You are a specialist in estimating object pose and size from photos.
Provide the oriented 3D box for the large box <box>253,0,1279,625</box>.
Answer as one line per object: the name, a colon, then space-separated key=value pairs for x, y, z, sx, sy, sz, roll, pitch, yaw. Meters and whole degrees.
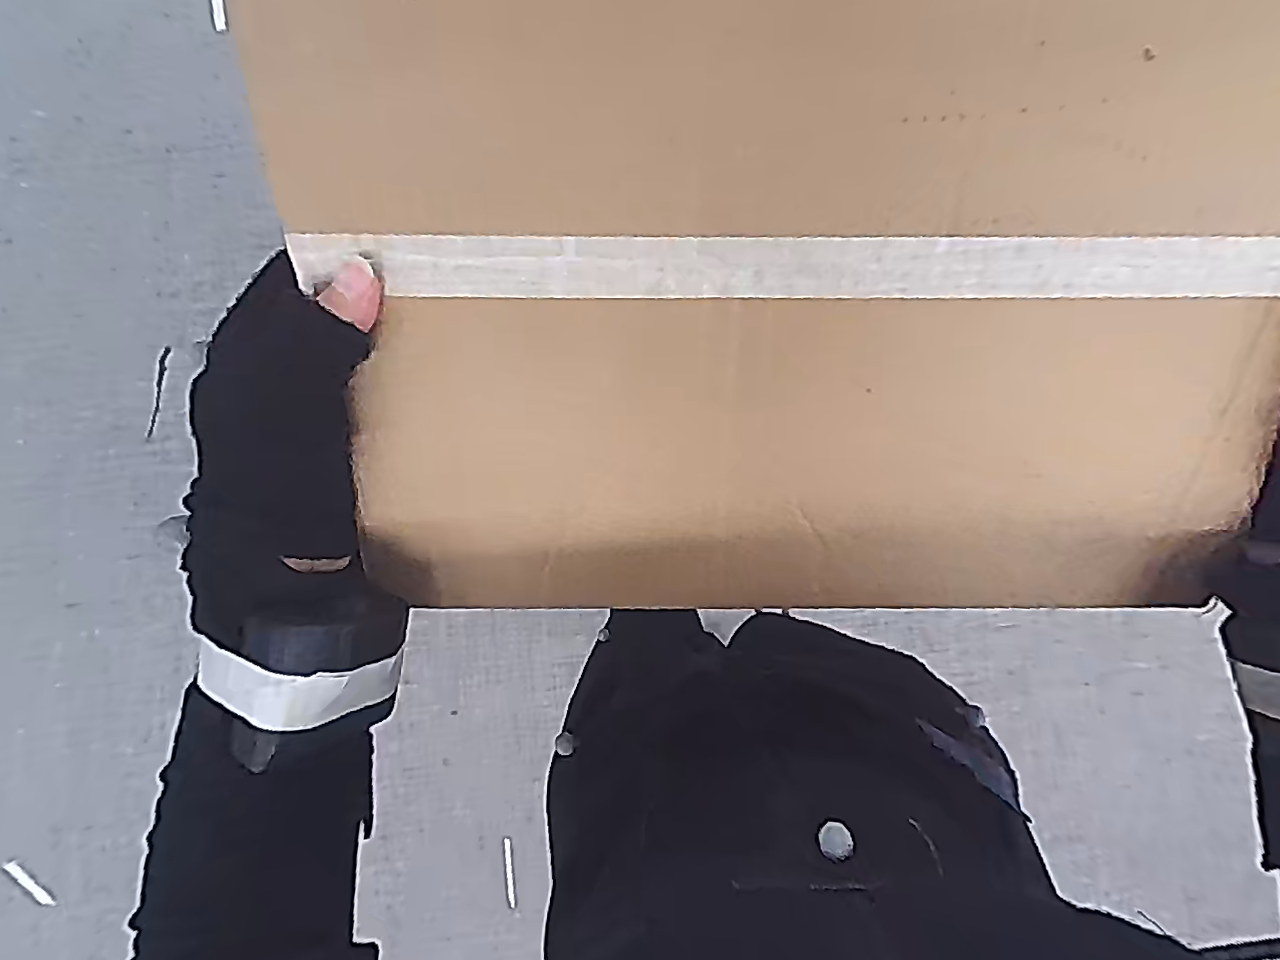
large box: x=0.074 y=-0.130 z=0.350 sx=0.408 sy=0.320 sz=0.320 roll=0 pitch=114 yaw=-1
